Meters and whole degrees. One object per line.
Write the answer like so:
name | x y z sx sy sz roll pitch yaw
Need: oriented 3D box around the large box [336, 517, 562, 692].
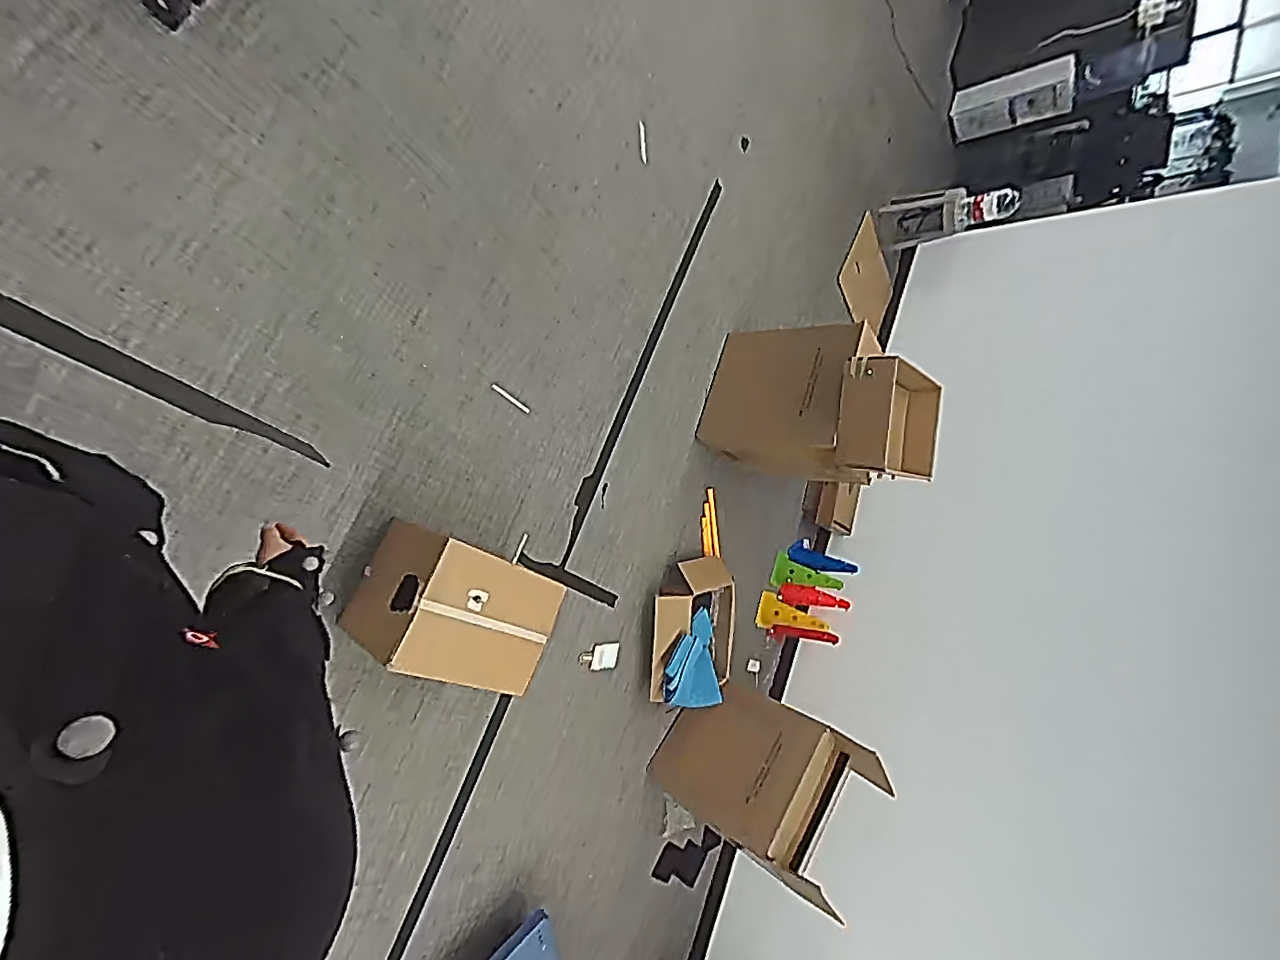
large box | -0.490 0.327 1.423 0.408 0.320 0.320 35 70 -44
